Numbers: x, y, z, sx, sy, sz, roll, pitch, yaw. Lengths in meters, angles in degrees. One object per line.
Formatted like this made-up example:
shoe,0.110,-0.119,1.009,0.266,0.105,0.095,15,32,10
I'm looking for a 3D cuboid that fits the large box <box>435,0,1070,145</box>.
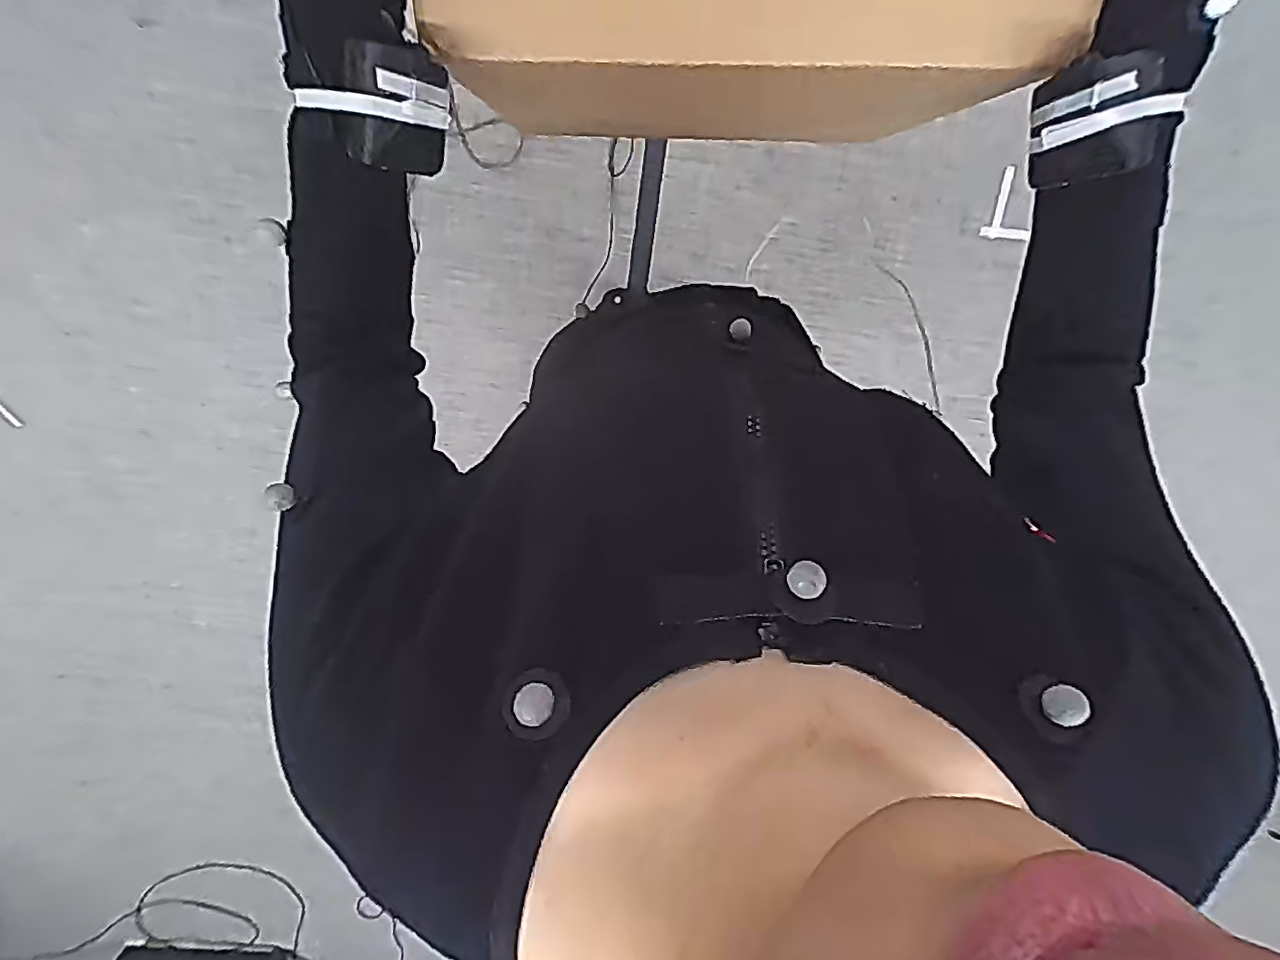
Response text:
large box,0.064,-0.467,0.421,0.408,0.320,0.320,-1,115,-2
